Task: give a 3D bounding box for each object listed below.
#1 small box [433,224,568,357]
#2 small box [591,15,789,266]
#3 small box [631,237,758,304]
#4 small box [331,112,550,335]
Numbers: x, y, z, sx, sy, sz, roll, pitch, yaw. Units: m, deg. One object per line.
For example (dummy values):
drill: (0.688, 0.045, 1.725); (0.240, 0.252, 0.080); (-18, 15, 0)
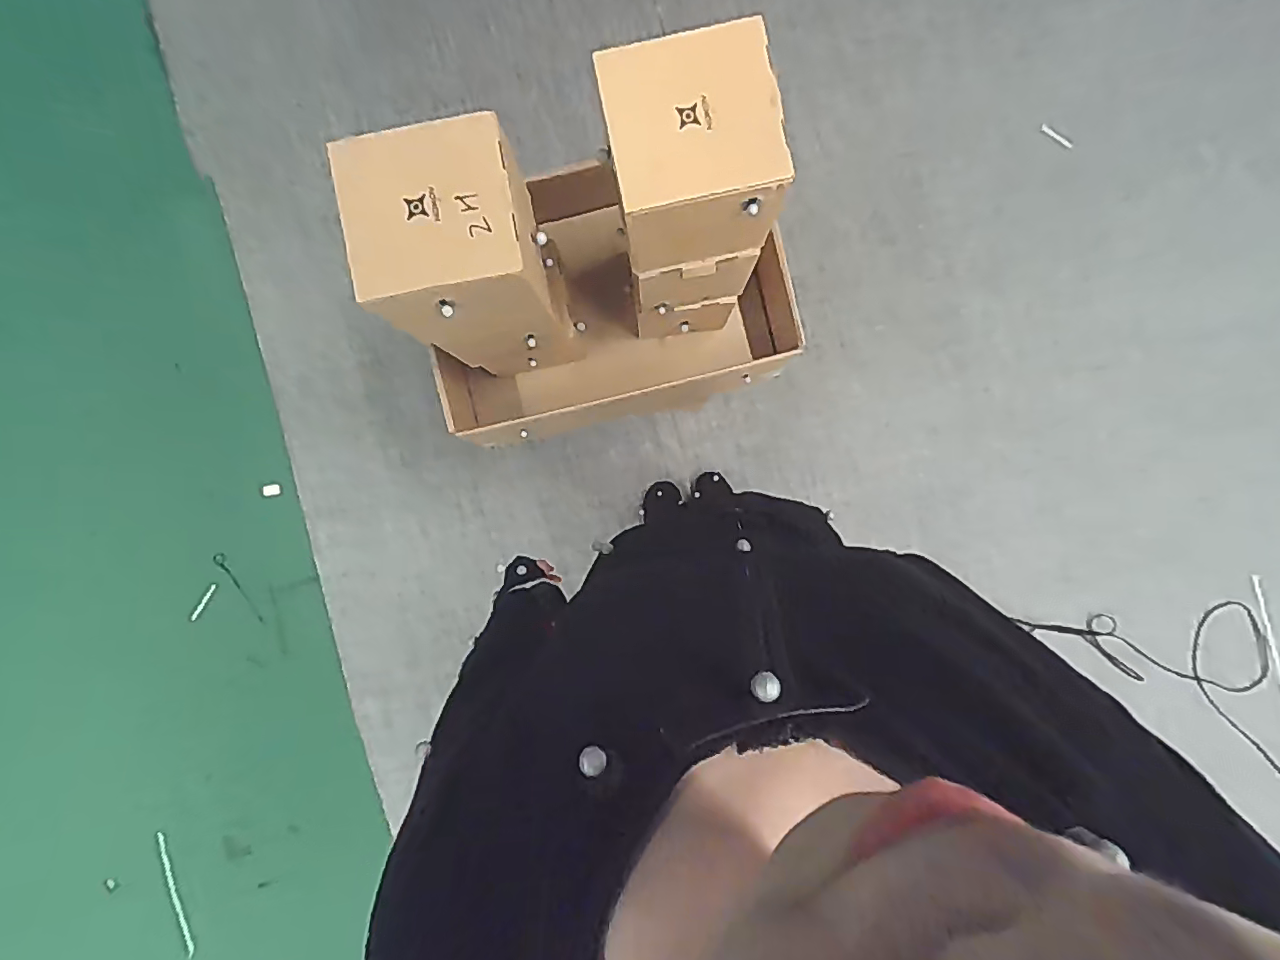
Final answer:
small box: (-0.211, -0.289, 0.794); (0.168, 0.176, 0.179); (-13, 90, 2)
small box: (0.053, -0.367, 0.620); (0.179, 0.176, 0.168); (-12, 90, 2)
small box: (0.064, -0.368, 0.782); (0.168, 0.176, 0.179); (-11, 90, 2)
small box: (-0.216, -0.279, 0.629); (0.179, 0.176, 0.168); (-10, 91, 1)
